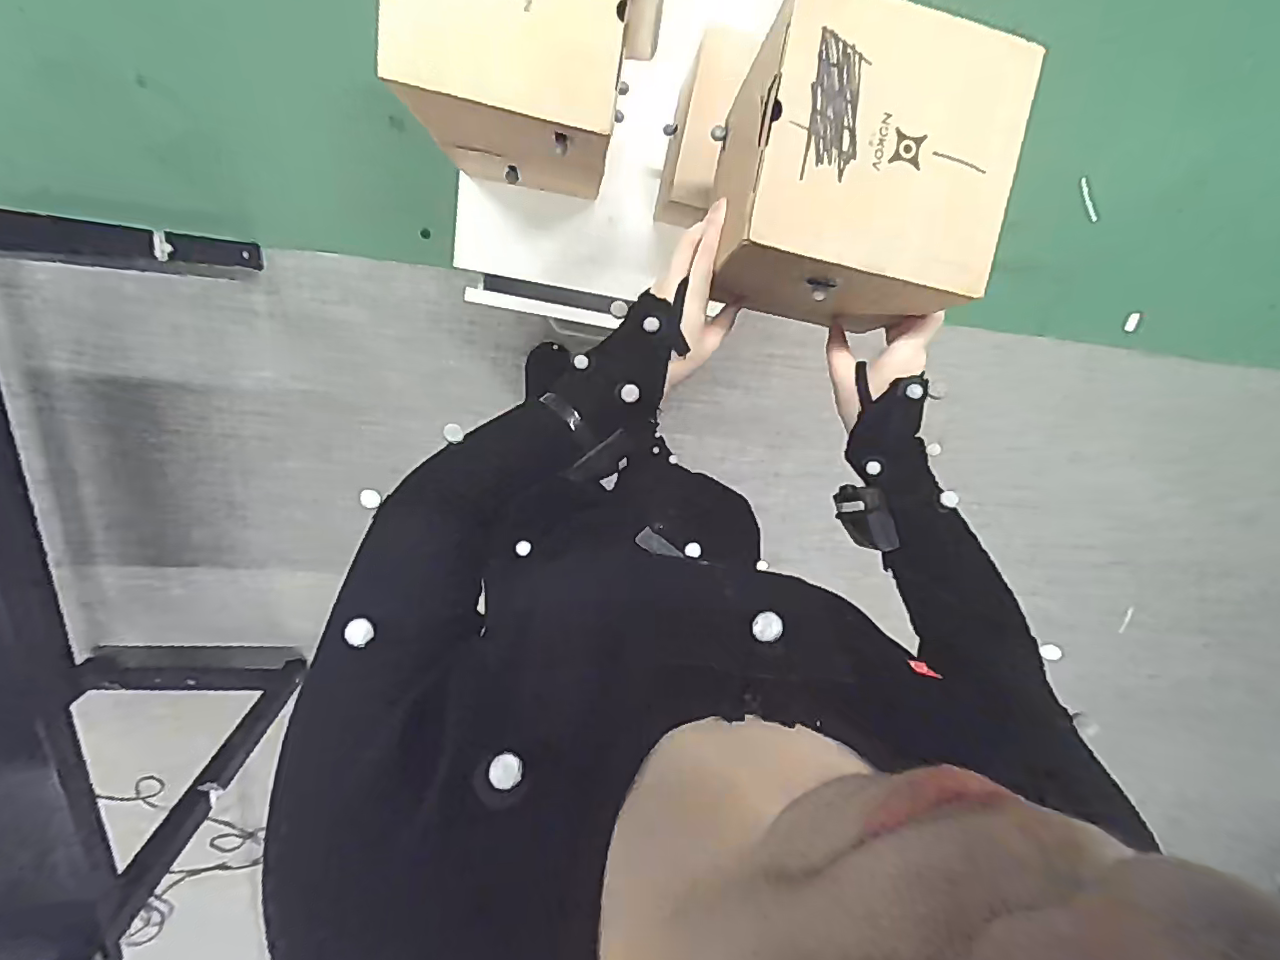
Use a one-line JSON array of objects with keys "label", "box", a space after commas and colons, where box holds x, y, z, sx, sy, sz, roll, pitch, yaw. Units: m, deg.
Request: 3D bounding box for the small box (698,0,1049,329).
[{"label": "small box", "box": [0.156, -0.224, 0.424, 0.179, 0.176, 0.168, 10, 96, -9]}]

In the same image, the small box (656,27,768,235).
[{"label": "small box", "box": [0.123, -0.383, 0.644, 0.179, 0.176, 0.168, 10, 108, -9]}]

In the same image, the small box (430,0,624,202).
[{"label": "small box", "box": [-0.120, -0.425, 0.605, 0.179, 0.176, 0.168, 7, 107, -9]}]
